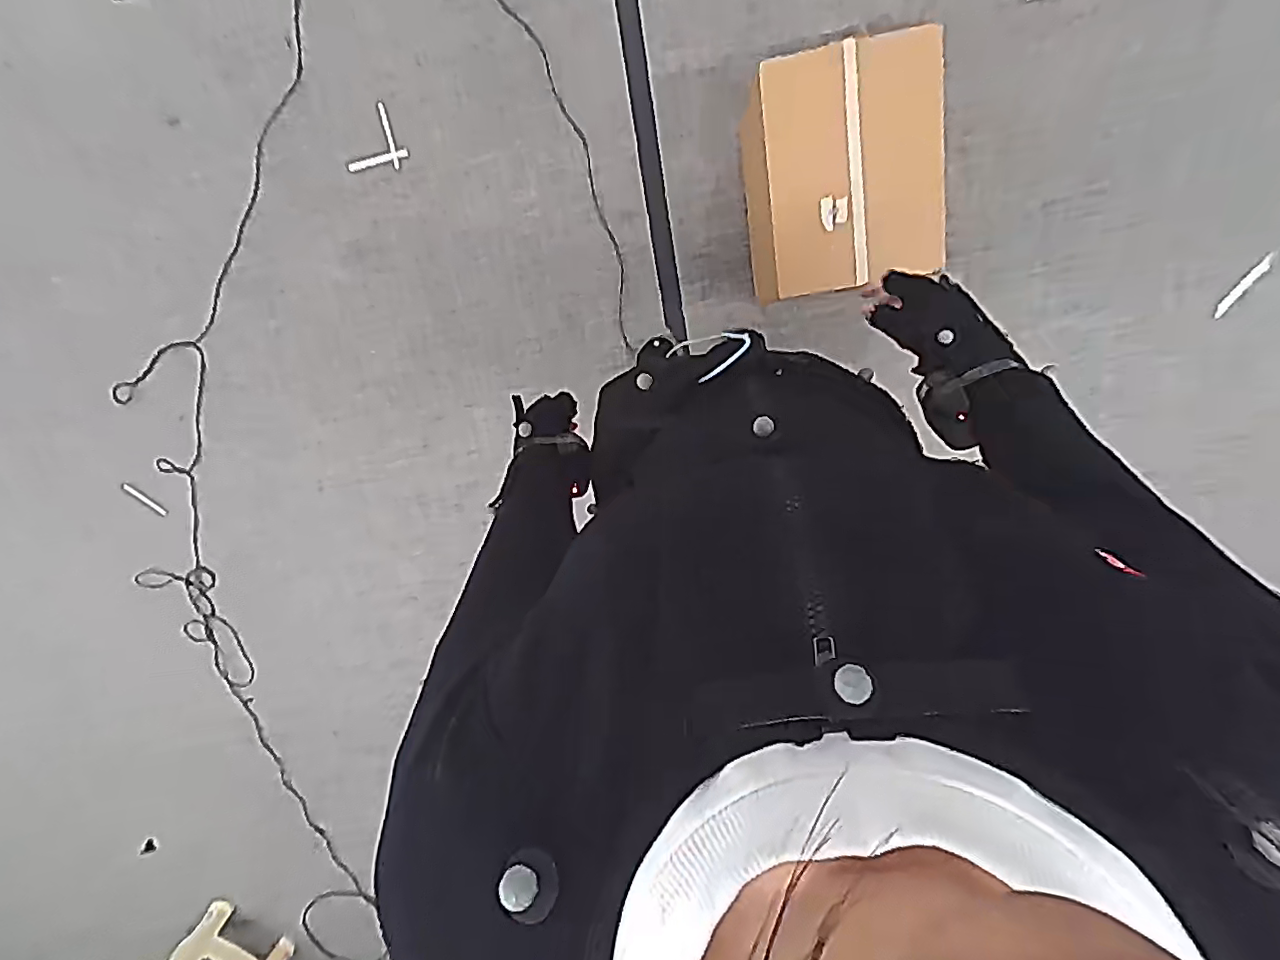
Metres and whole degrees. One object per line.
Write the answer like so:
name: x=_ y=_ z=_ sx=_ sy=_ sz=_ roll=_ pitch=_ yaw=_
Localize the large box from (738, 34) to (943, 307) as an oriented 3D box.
large box: x=0.401 y=-0.600 z=1.136 sx=0.320 sy=0.320 sz=0.408 roll=-8 pitch=105 yaw=7
